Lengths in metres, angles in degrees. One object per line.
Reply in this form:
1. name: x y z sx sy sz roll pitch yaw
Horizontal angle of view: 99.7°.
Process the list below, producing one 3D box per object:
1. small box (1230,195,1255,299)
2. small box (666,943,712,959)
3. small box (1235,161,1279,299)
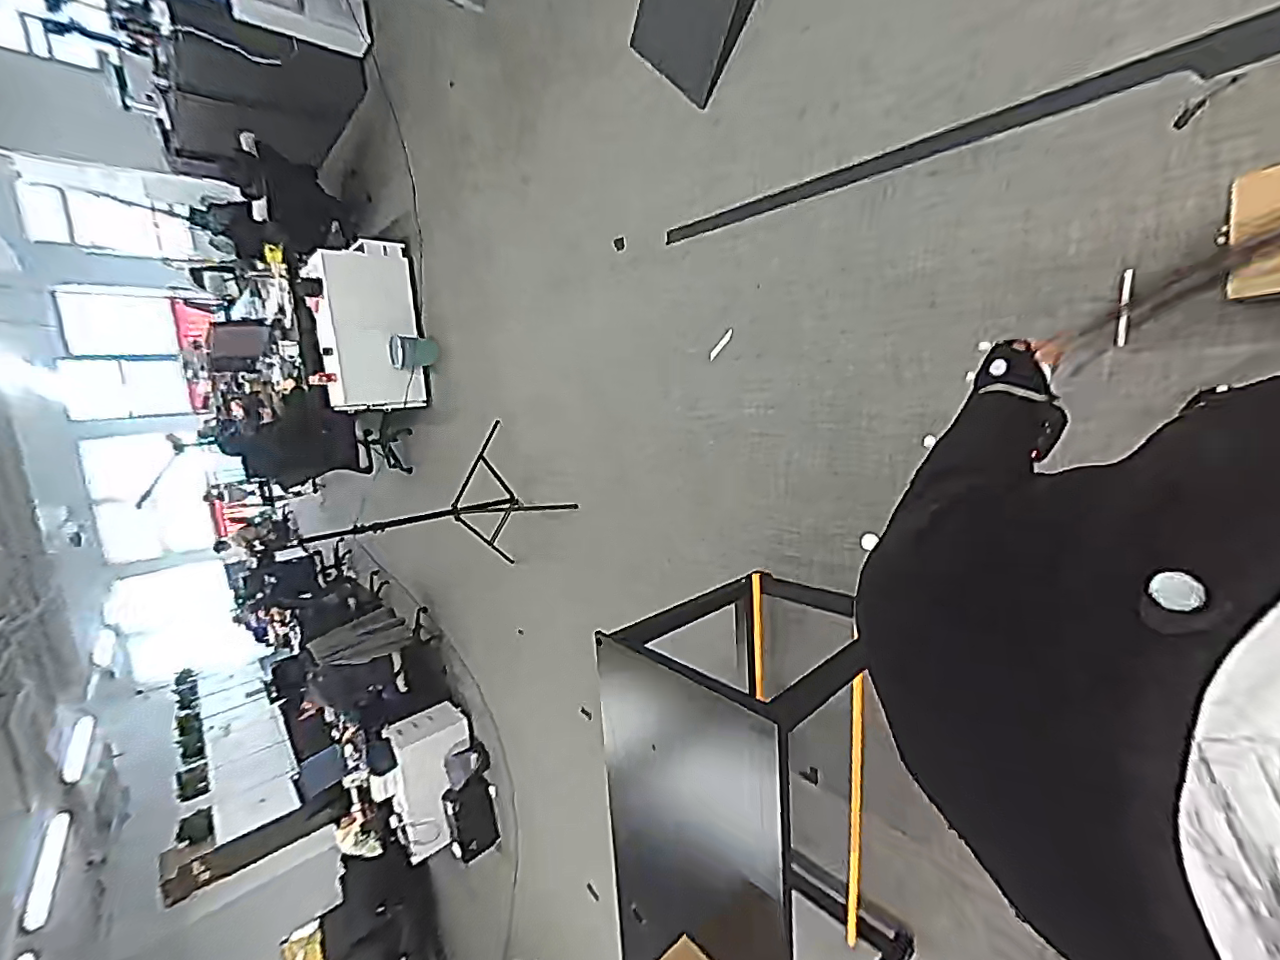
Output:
1. small box: 1.098 -0.395 0.876 0.179 0.176 0.168 6 104 49
2. small box: 0.125 1.284 1.307 0.179 0.176 0.168 10 107 49
3. small box: 0.978 -0.365 0.770 0.168 0.176 0.179 3 103 51
